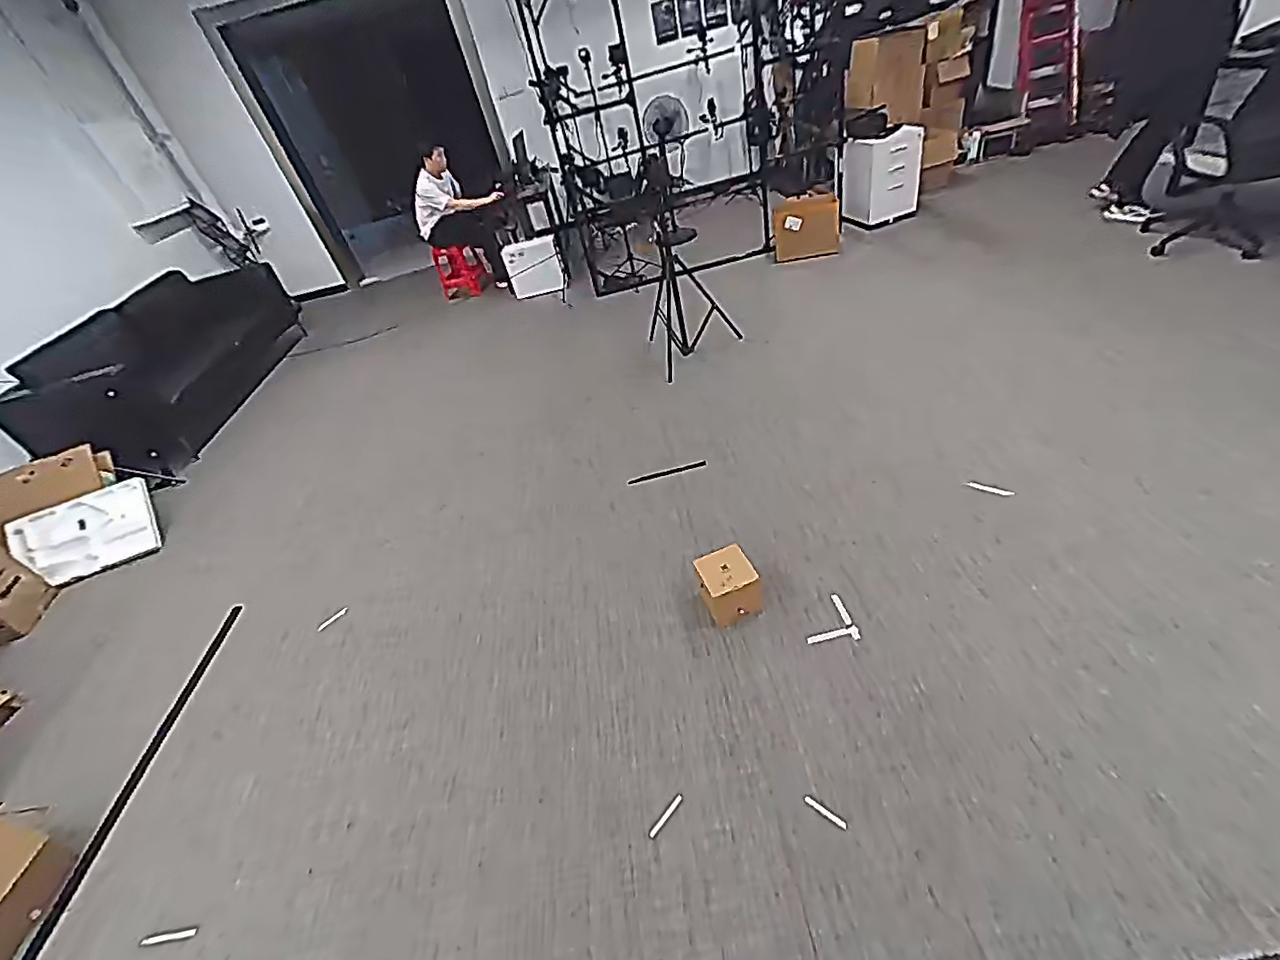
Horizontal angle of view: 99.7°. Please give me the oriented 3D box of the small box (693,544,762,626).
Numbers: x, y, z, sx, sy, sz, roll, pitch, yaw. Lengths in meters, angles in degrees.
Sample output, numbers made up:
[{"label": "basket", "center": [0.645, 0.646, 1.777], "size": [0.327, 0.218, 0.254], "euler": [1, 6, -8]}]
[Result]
[{"label": "small box", "center": [0.292, 0.351, 1.808], "size": [0.168, 0.176, 0.179], "euler": [-21, 39, -6]}]
